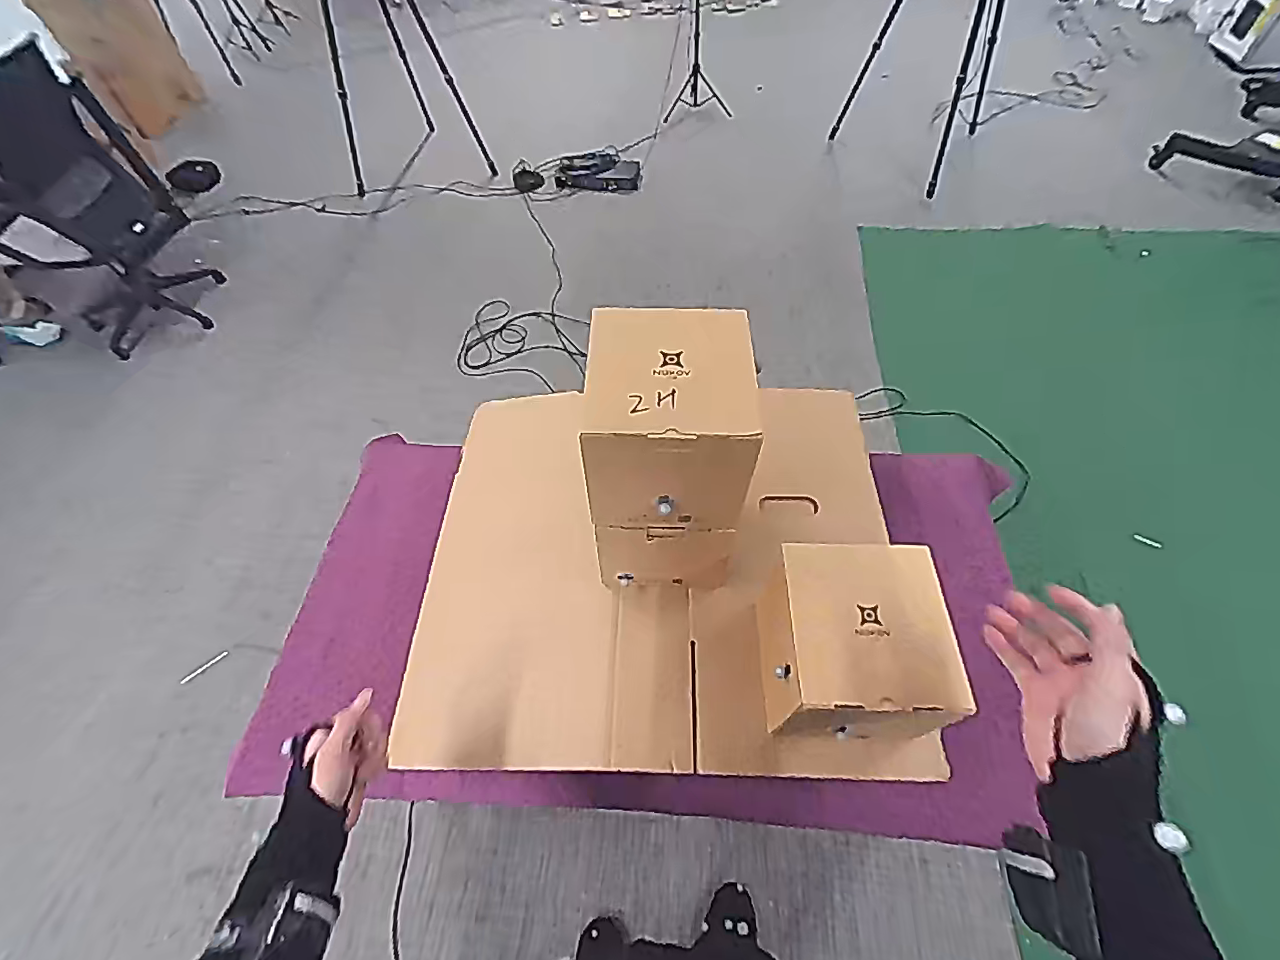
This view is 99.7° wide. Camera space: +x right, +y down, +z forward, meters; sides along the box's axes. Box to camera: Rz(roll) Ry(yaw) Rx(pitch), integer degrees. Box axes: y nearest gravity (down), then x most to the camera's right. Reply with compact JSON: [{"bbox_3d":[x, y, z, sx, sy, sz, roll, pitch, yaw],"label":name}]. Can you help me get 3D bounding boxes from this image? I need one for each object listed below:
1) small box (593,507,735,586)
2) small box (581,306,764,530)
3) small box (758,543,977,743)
[{"bbox_3d":[0.031,0.031,0.722,0.168,0.176,0.179,2,55,0],"label":"small box"},{"bbox_3d":[0.030,-0.064,0.588,0.168,0.176,0.179,1,57,1],"label":"small box"},{"bbox_3d":[0.235,0.189,0.617,0.168,0.176,0.179,1,57,1],"label":"small box"}]
